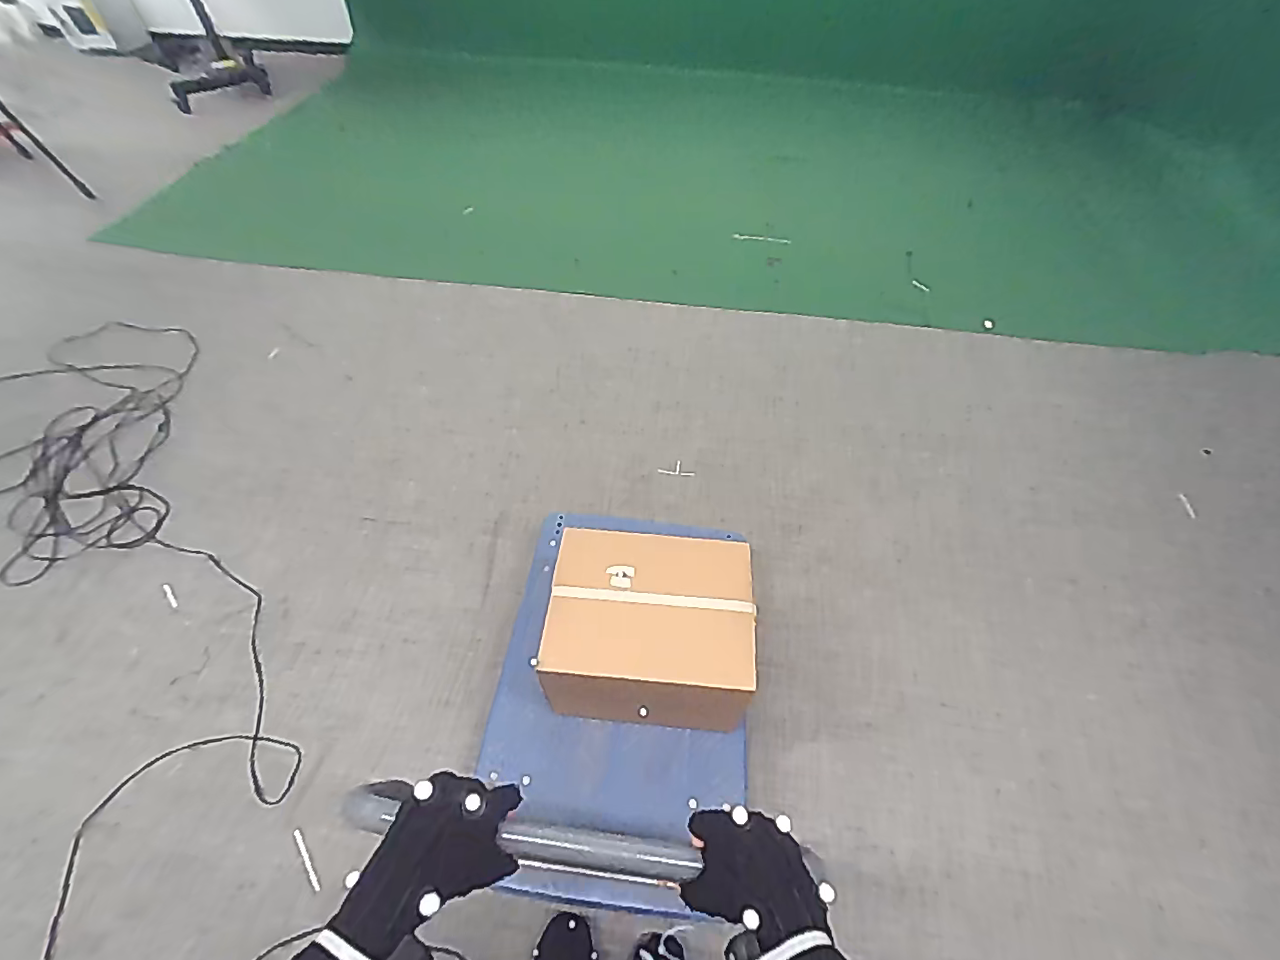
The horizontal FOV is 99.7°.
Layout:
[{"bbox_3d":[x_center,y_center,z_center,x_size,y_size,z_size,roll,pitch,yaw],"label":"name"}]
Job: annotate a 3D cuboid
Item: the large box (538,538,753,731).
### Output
[{"bbox_3d":[0.021,0.348,1.199,0.408,0.320,0.320,4,51,3],"label":"large box"}]
